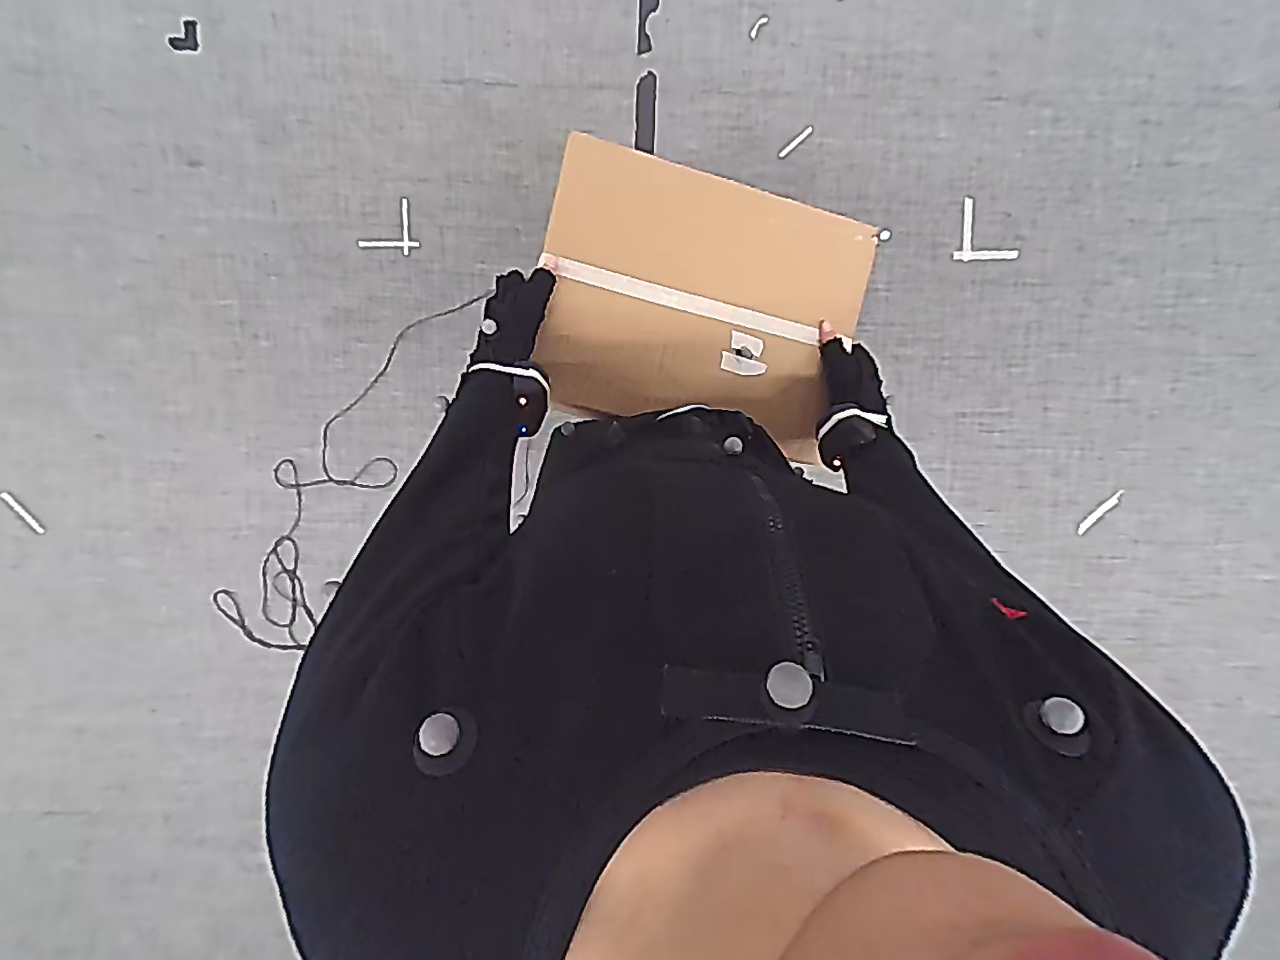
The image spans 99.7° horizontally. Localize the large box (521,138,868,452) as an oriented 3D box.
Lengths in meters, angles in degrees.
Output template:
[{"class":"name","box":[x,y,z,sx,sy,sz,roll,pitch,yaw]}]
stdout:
[{"class":"large box","box":[0.054,-0.238,0.833,0.408,0.320,0.320,13,94,-9]}]
